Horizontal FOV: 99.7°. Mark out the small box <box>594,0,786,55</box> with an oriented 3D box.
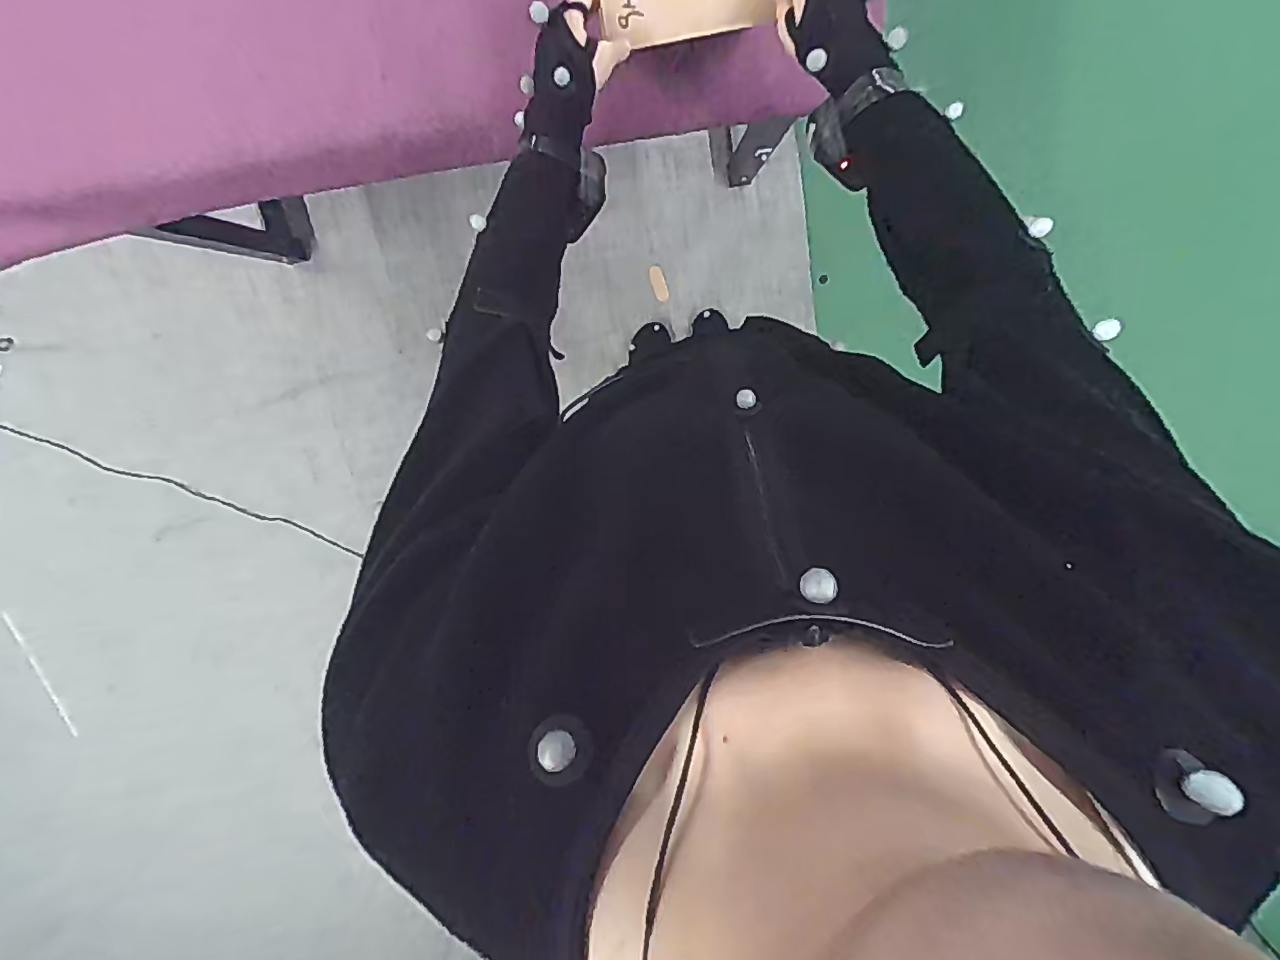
[{"bbox_3d":[0.035,-0.530,0.520,0.179,0.176,0.168,-8,130,3],"label":"small box"}]
